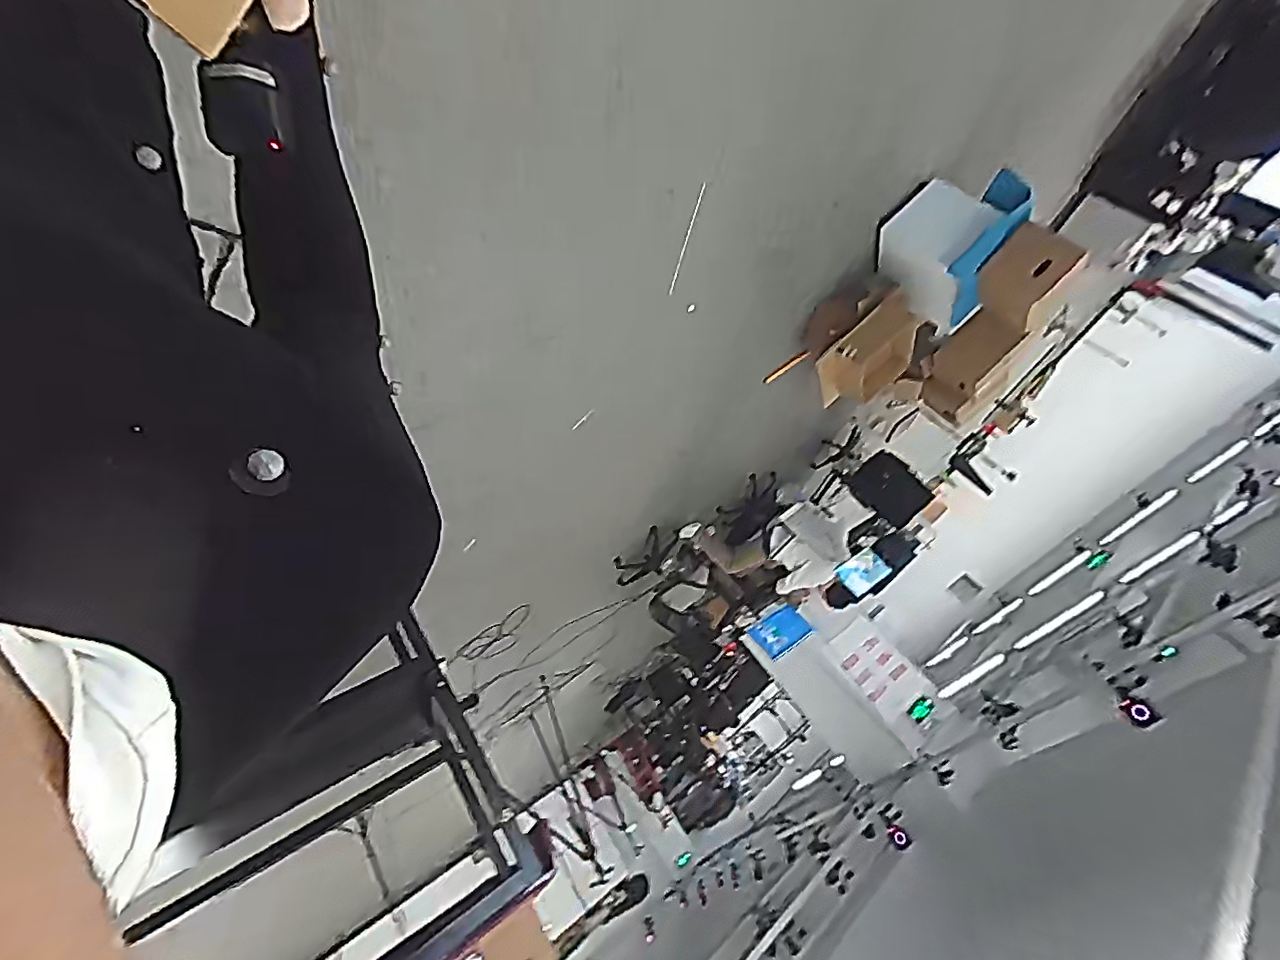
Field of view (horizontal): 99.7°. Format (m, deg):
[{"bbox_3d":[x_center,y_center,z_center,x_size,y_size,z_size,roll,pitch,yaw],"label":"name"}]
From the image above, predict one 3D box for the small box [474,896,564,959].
[{"bbox_3d":[-0.339,1.300,1.499,0.179,0.176,0.168,-21,147,-34],"label":"small box"}]
